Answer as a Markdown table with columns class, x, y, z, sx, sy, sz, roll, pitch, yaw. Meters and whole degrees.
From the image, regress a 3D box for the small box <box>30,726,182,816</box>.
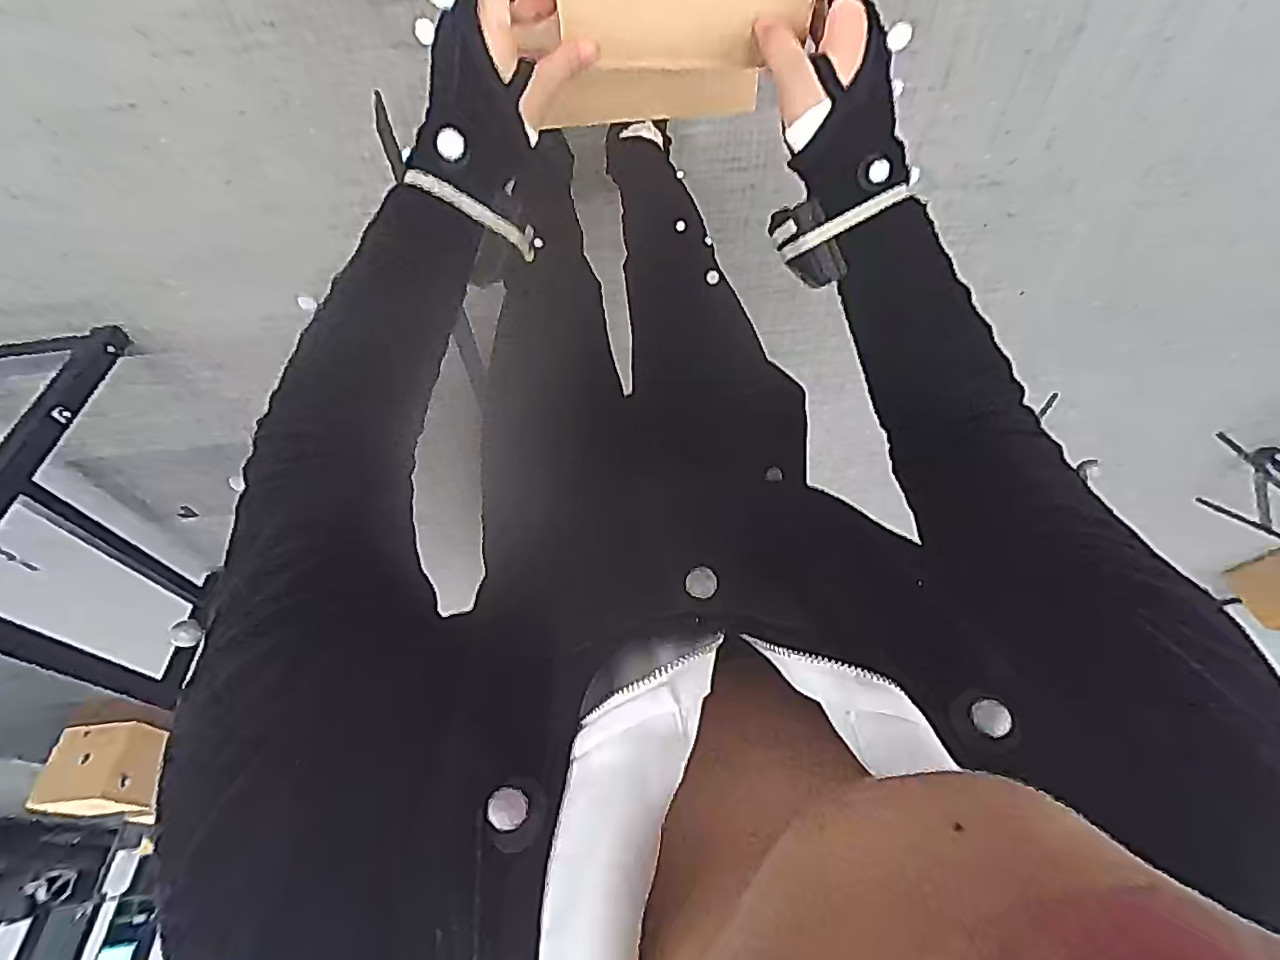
| class | x | y | z | sx | sy | sz | roll | pitch | yaw |
| --- | --- | --- | --- | --- | --- | --- | --- | --- | --- |
| small box | -1.295 | 0.711 | 1.330 | 0.168 | 0.176 | 0.179 | -5 | 143 | -2 |

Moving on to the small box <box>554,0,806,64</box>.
| class | x | y | z | sx | sy | sz | roll | pitch | yaw |
| --- | --- | --- | --- | --- | --- | --- | --- | --- | --- |
| small box | 0.024 | -0.418 | 0.374 | 0.179 | 0.176 | 0.168 | -2 | 144 | -3 |
